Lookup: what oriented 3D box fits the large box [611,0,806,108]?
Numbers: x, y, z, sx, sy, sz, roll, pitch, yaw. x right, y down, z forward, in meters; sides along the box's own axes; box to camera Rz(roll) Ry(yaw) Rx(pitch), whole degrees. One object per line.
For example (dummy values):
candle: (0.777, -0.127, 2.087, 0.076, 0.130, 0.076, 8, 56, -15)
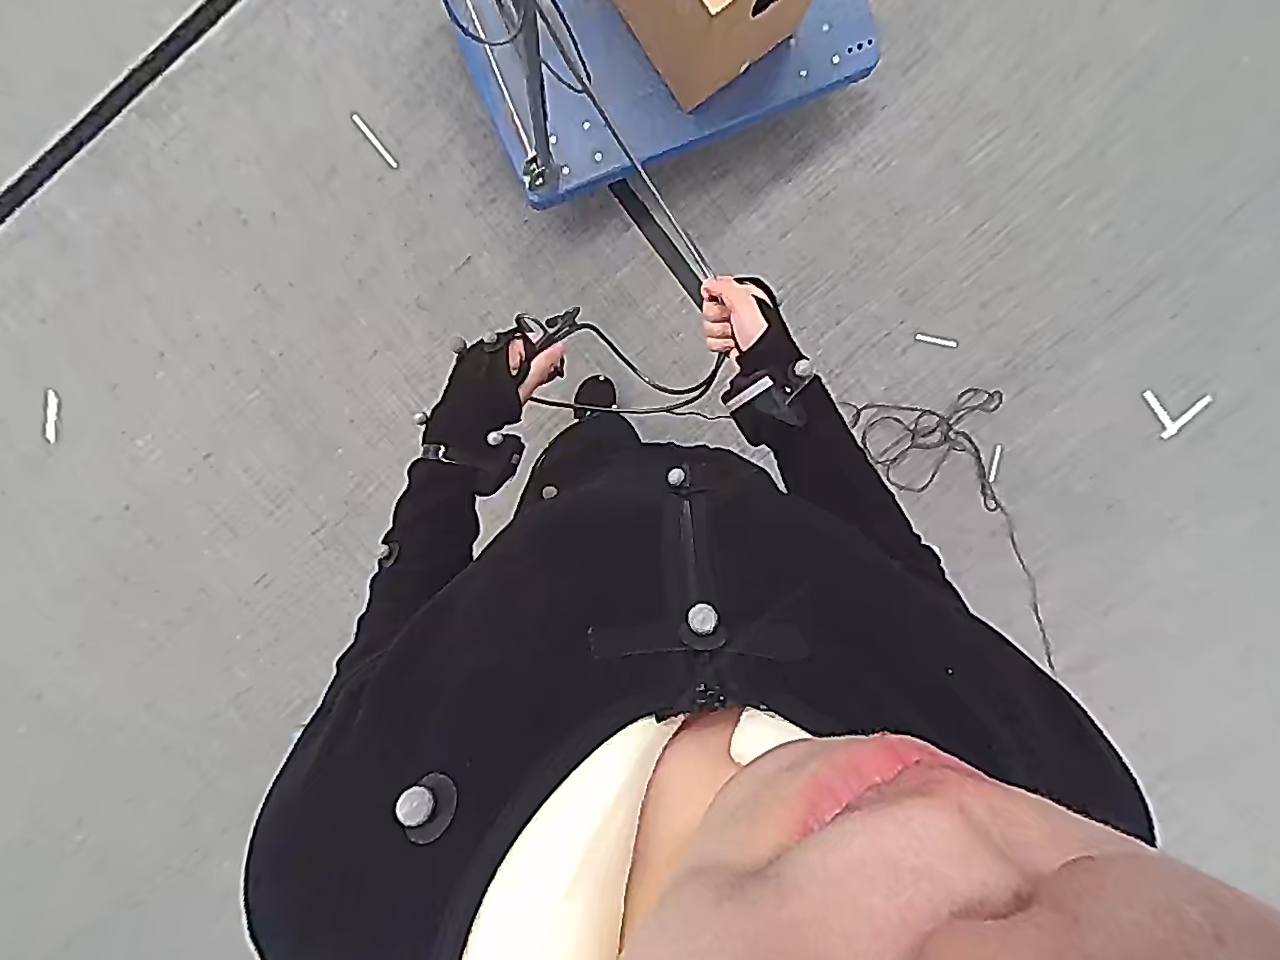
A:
large box: (0.113, -1.046, 1.024, 0.320, 0.320, 0.408, -37, 99, 3)
